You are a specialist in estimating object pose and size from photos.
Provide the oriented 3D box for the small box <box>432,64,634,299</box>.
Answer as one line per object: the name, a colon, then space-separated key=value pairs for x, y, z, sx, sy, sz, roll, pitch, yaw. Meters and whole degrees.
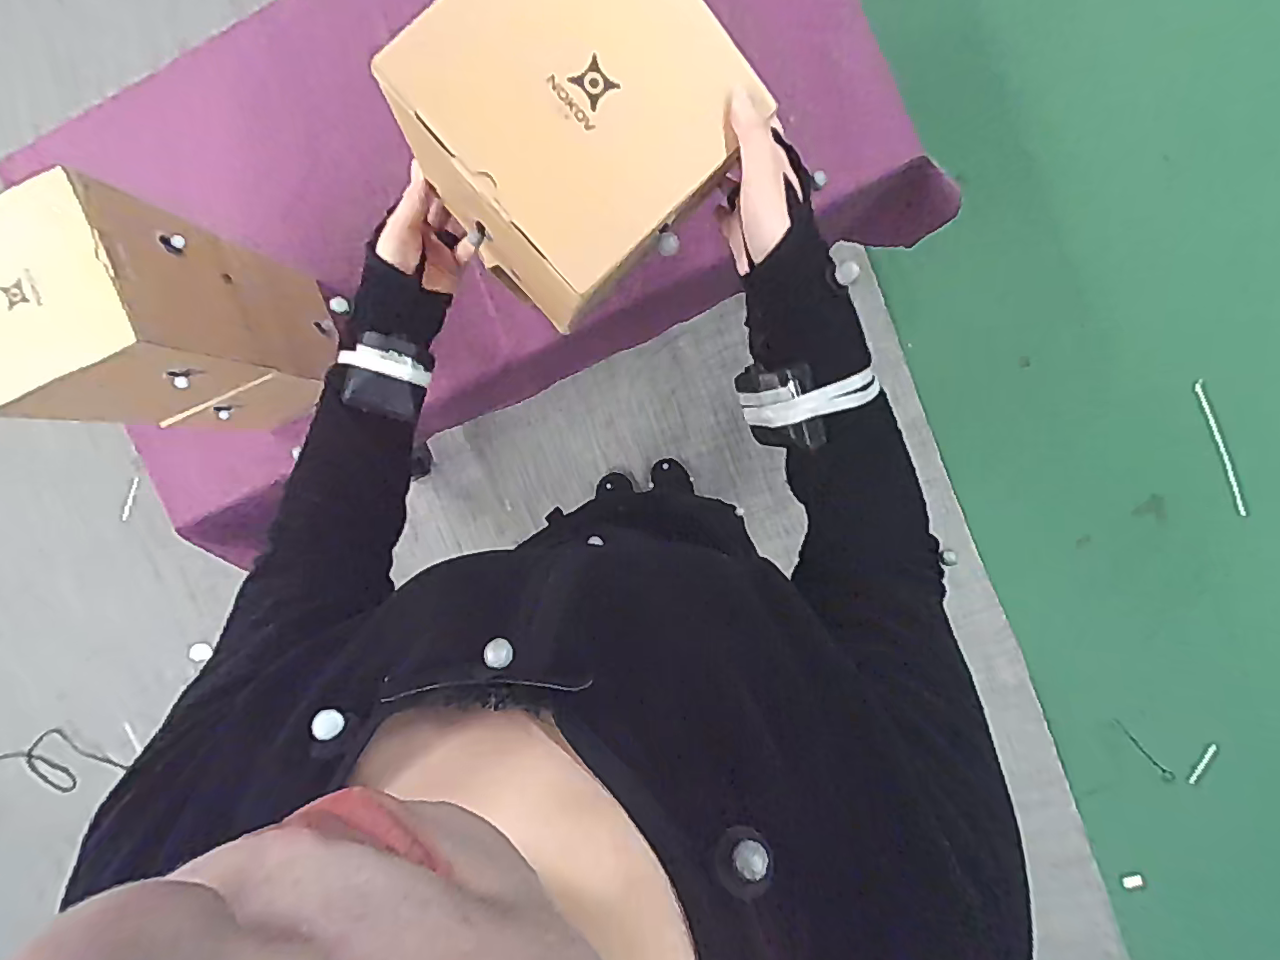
small box: x=-0.119 y=-0.351 z=0.676 sx=0.179 sy=0.176 sz=0.168 roll=-23 pitch=92 yaw=4

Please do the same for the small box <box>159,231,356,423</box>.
small box: x=-0.521 y=-0.186 z=0.715 sx=0.168 sy=0.176 sz=0.179 roll=-22 pitch=91 yaw=6

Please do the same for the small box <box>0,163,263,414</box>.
small box: x=-0.532 y=-0.174 z=0.552 sx=0.179 sy=0.176 sz=0.168 roll=-20 pitch=92 yaw=5
